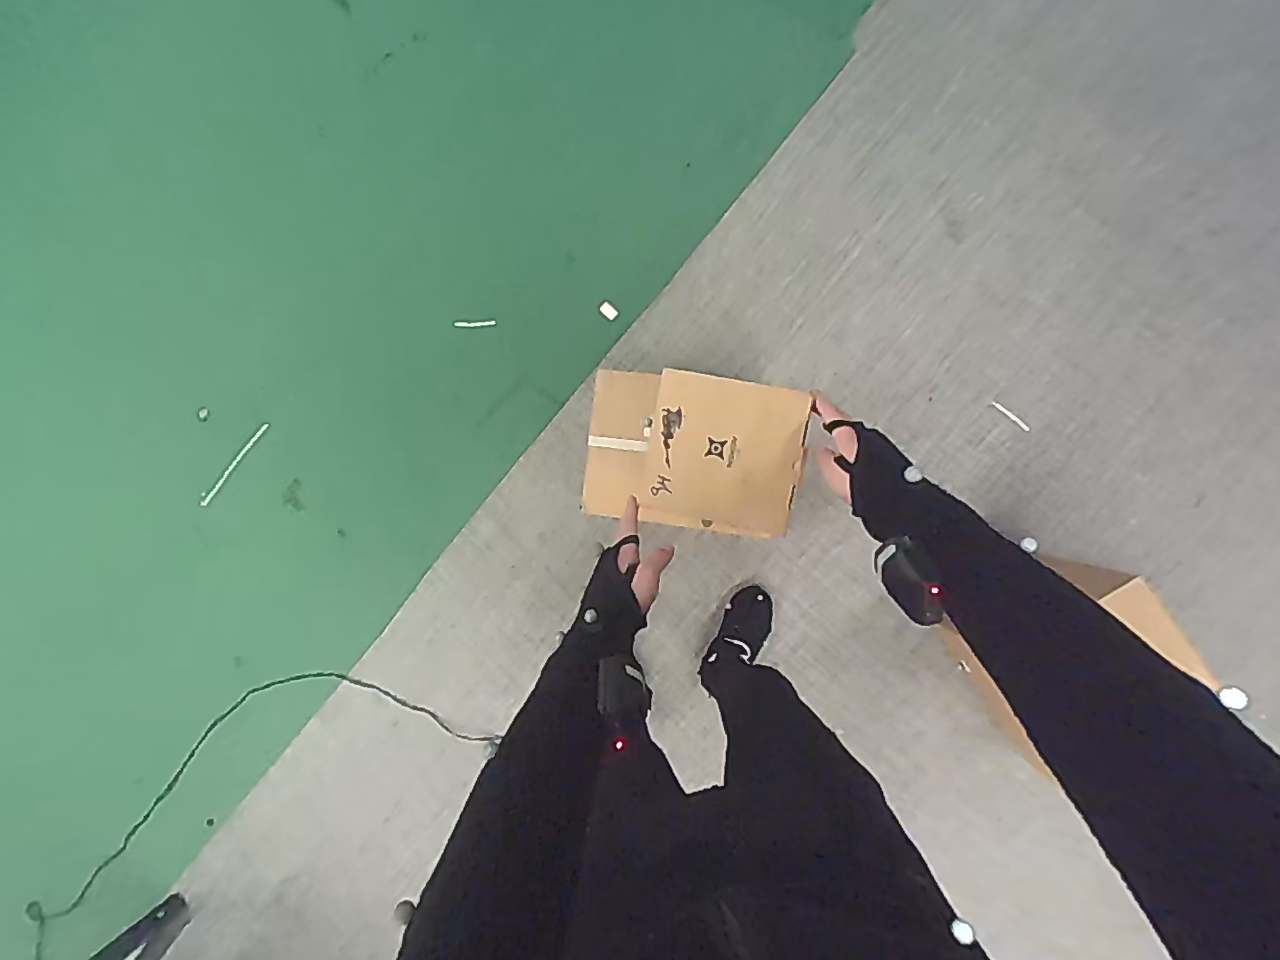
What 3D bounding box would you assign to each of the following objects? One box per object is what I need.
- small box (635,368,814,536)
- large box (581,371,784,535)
[{"bbox_3d":[0.103,-0.034,0.694,0.179,0.176,0.168,12,91,6],"label":"small box"},{"bbox_3d":[0.107,-0.059,1.273,0.408,0.320,0.320,7,90,8],"label":"large box"}]
